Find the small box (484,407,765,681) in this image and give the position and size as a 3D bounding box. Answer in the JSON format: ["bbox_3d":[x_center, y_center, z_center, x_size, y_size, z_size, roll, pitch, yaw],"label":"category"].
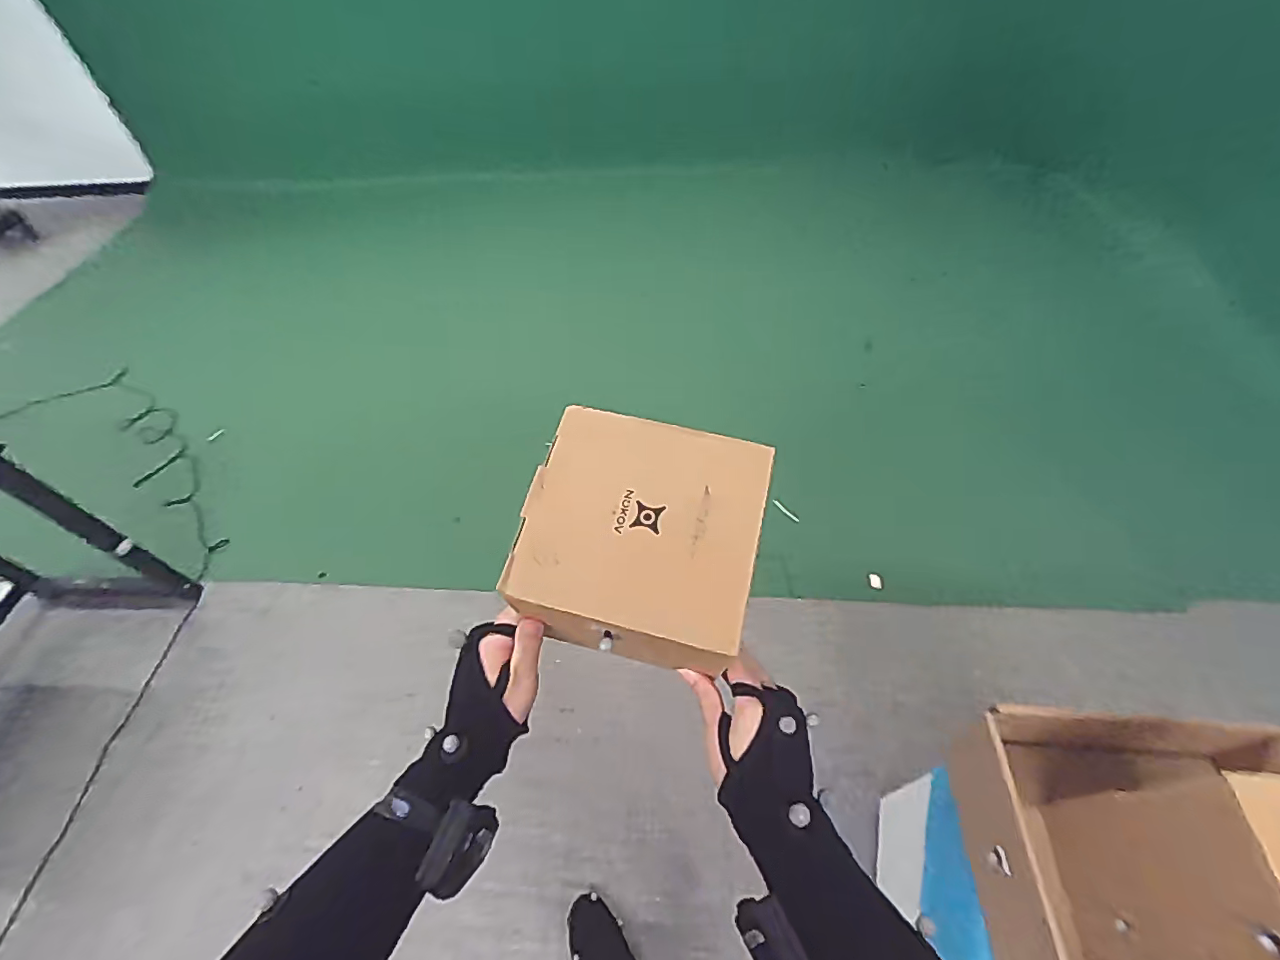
[{"bbox_3d":[-0.005,0.065,0.471,0.179,0.176,0.168,14,64,8],"label":"small box"}]
